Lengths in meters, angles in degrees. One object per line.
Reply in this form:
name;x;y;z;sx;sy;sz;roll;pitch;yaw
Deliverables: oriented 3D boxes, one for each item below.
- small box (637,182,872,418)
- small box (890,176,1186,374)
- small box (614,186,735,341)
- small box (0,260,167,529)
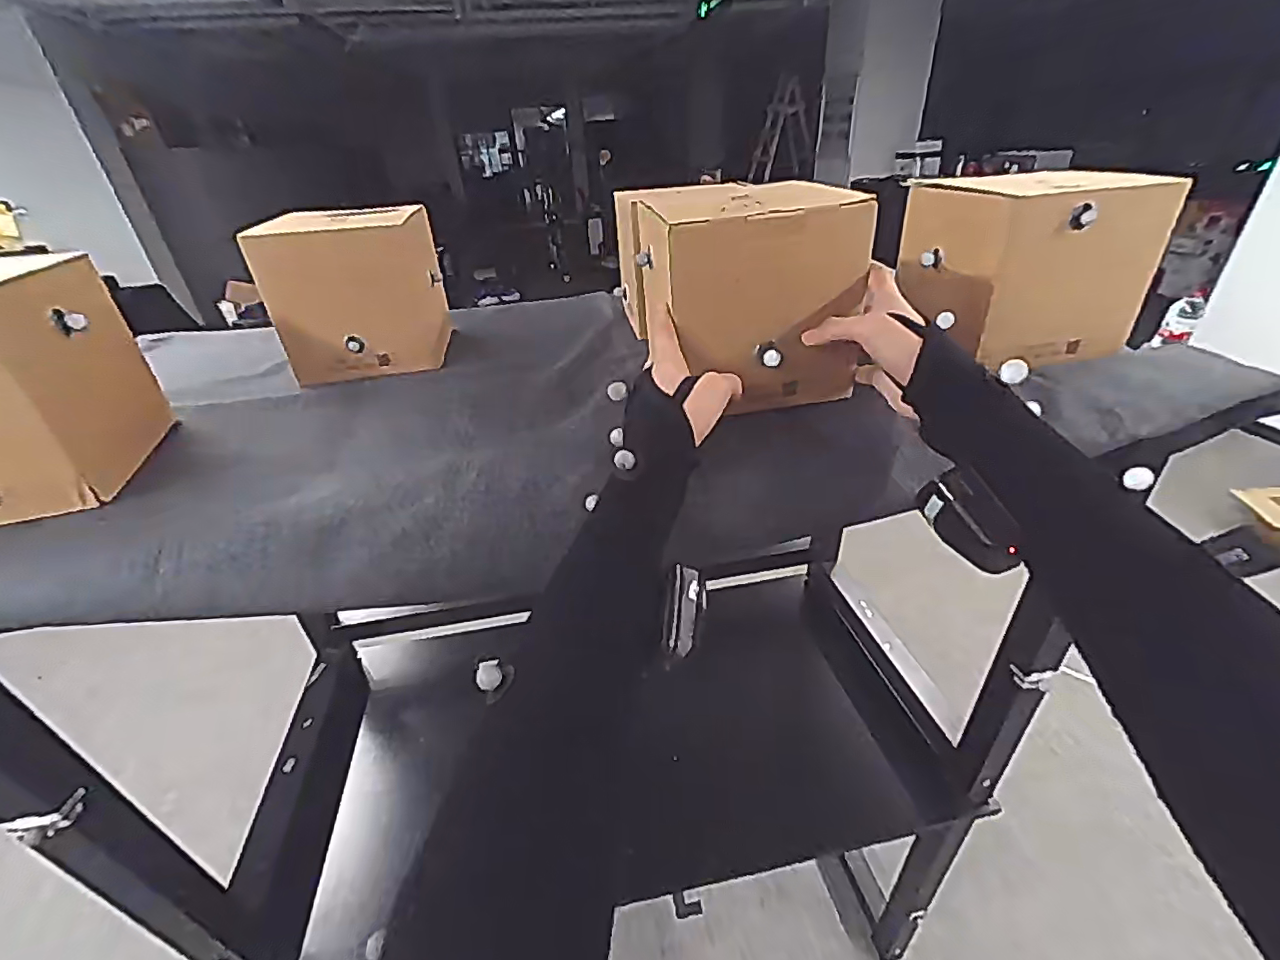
small box;0.092;-0.176;0.518;0.168;0.176;0.179;-9;34;-3
small box;0.394;-0.223;0.580;0.168;0.176;0.179;-7;31;-4
small box;0.062;-0.302;0.746;0.179;0.176;0.168;-7;31;-6
small box;-0.537;-0.069;0.437;0.168;0.176;0.179;-13;34;-16
